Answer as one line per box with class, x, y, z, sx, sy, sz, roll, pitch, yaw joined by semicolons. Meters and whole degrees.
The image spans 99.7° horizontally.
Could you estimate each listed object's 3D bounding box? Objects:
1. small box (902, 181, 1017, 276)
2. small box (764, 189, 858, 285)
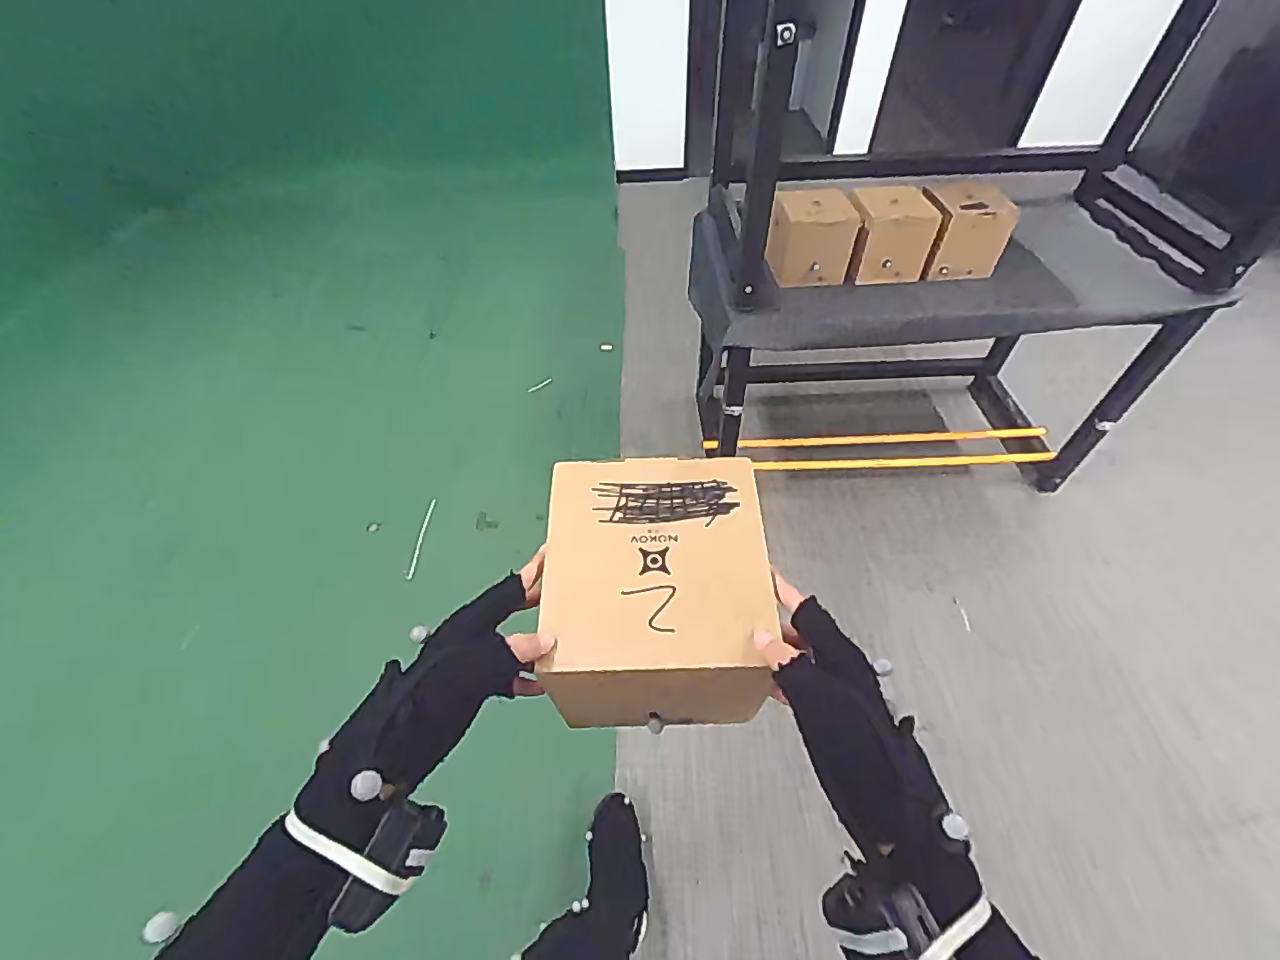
small box;0.792;-0.629;1.362;0.168;0.176;0.179;-3;48;-1
small box;0.418;-0.609;1.358;0.168;0.176;0.179;-4;49;-1
